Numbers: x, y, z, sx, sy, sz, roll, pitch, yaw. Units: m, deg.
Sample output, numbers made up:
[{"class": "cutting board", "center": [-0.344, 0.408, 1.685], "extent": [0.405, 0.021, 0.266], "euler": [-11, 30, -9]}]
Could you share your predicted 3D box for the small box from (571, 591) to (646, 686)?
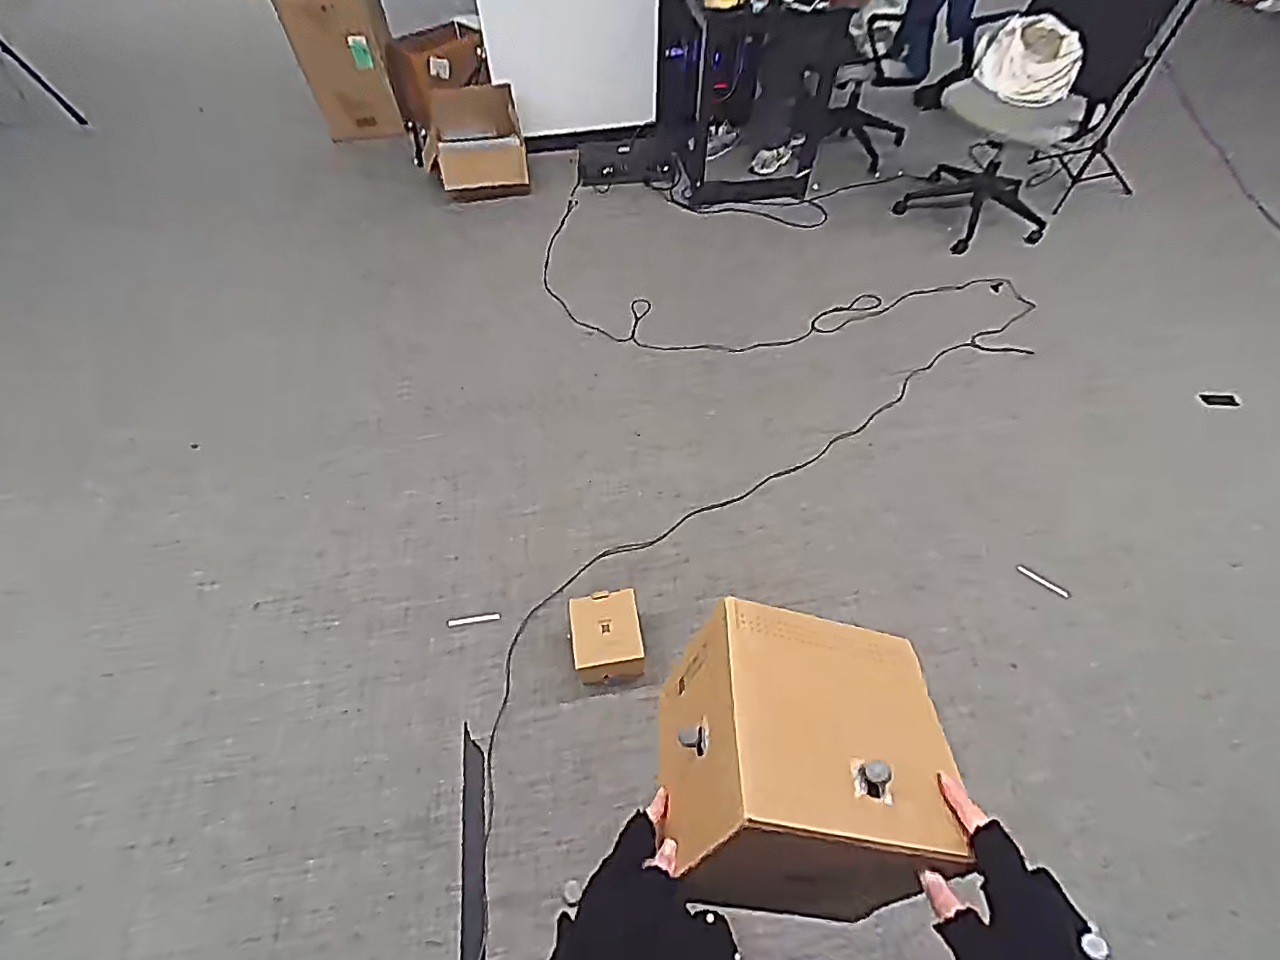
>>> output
[{"class": "small box", "center": [-0.080, 0.404, 1.372], "extent": [0.168, 0.176, 0.179], "euler": [-8, 58, -4]}]

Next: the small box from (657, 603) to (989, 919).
[{"class": "small box", "center": [0.121, 0.224, 0.443], "extent": [0.179, 0.168, 0.176], "euler": [15, 38, -10]}]
